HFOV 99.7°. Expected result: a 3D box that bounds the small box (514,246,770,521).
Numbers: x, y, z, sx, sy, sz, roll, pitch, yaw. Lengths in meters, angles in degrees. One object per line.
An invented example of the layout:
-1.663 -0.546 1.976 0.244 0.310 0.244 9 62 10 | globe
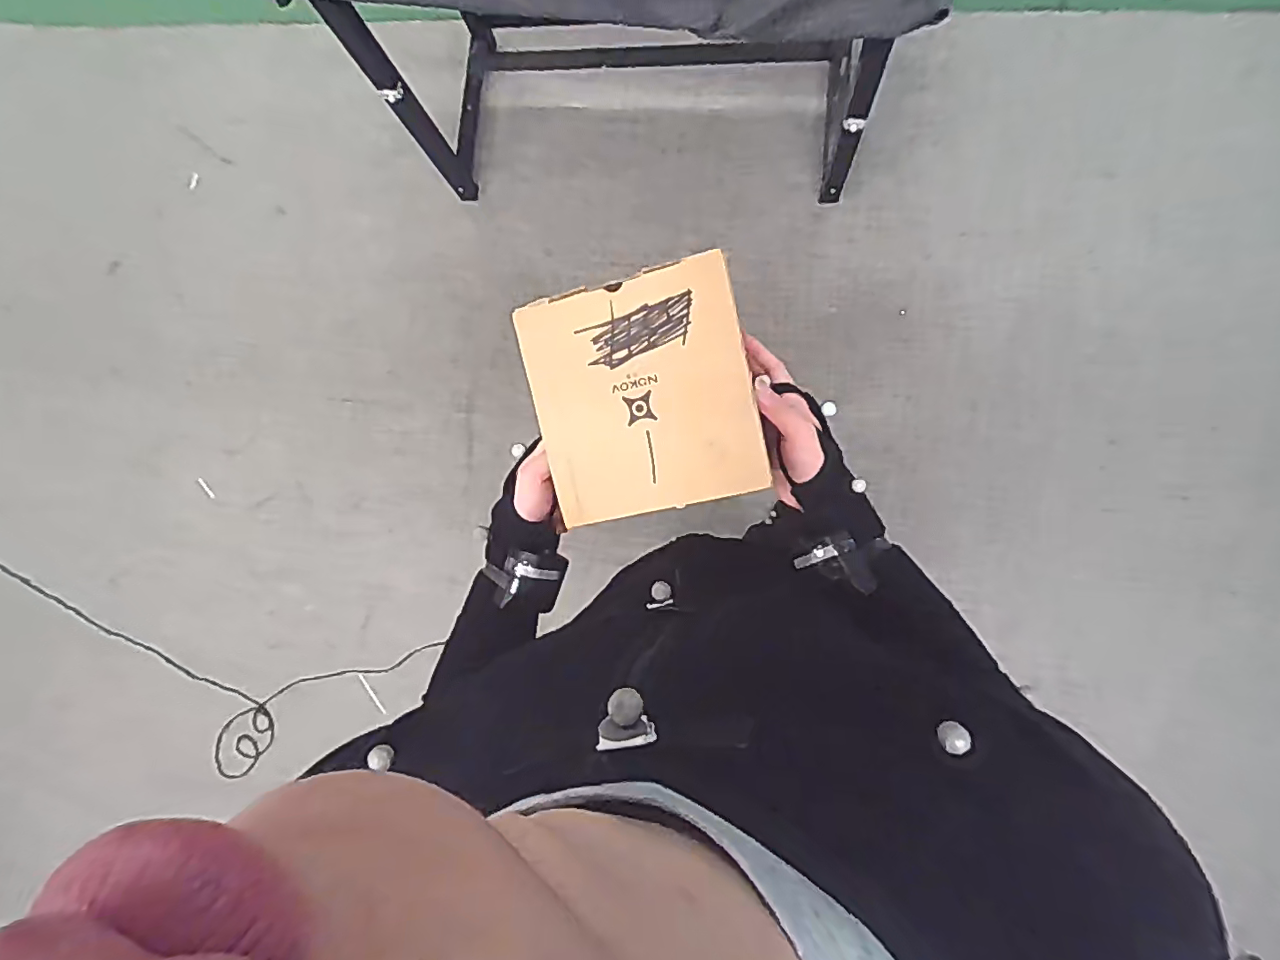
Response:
0.014 -0.075 0.481 0.168 0.176 0.179 -13 95 14 | small box
